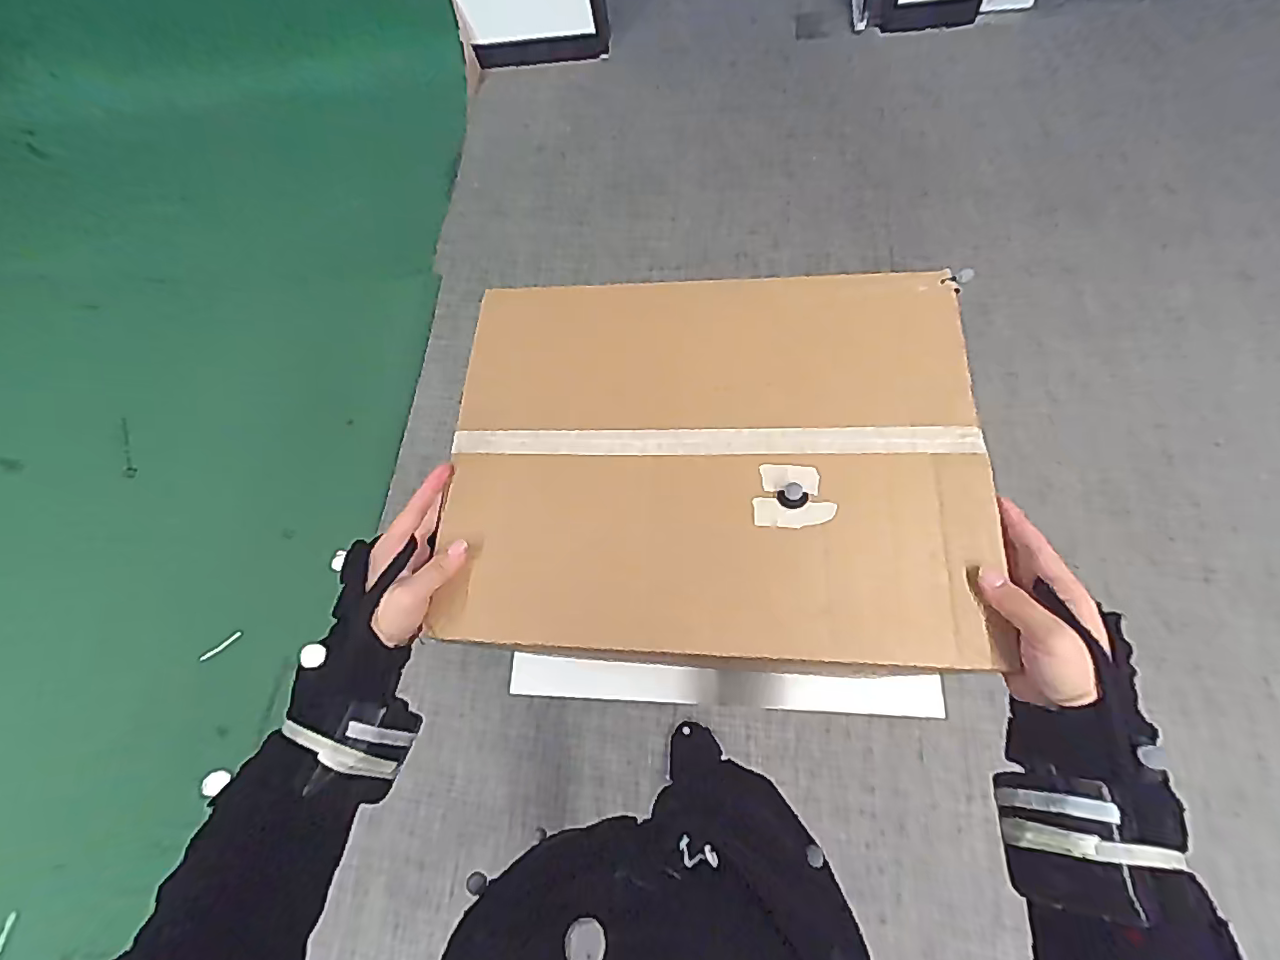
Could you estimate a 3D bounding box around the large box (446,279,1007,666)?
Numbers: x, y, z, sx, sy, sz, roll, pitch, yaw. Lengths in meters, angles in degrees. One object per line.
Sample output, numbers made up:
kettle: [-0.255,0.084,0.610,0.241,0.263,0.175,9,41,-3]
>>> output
large box: [0.071,0.023,0.571,0.408,0.320,0.320,1,70,7]
